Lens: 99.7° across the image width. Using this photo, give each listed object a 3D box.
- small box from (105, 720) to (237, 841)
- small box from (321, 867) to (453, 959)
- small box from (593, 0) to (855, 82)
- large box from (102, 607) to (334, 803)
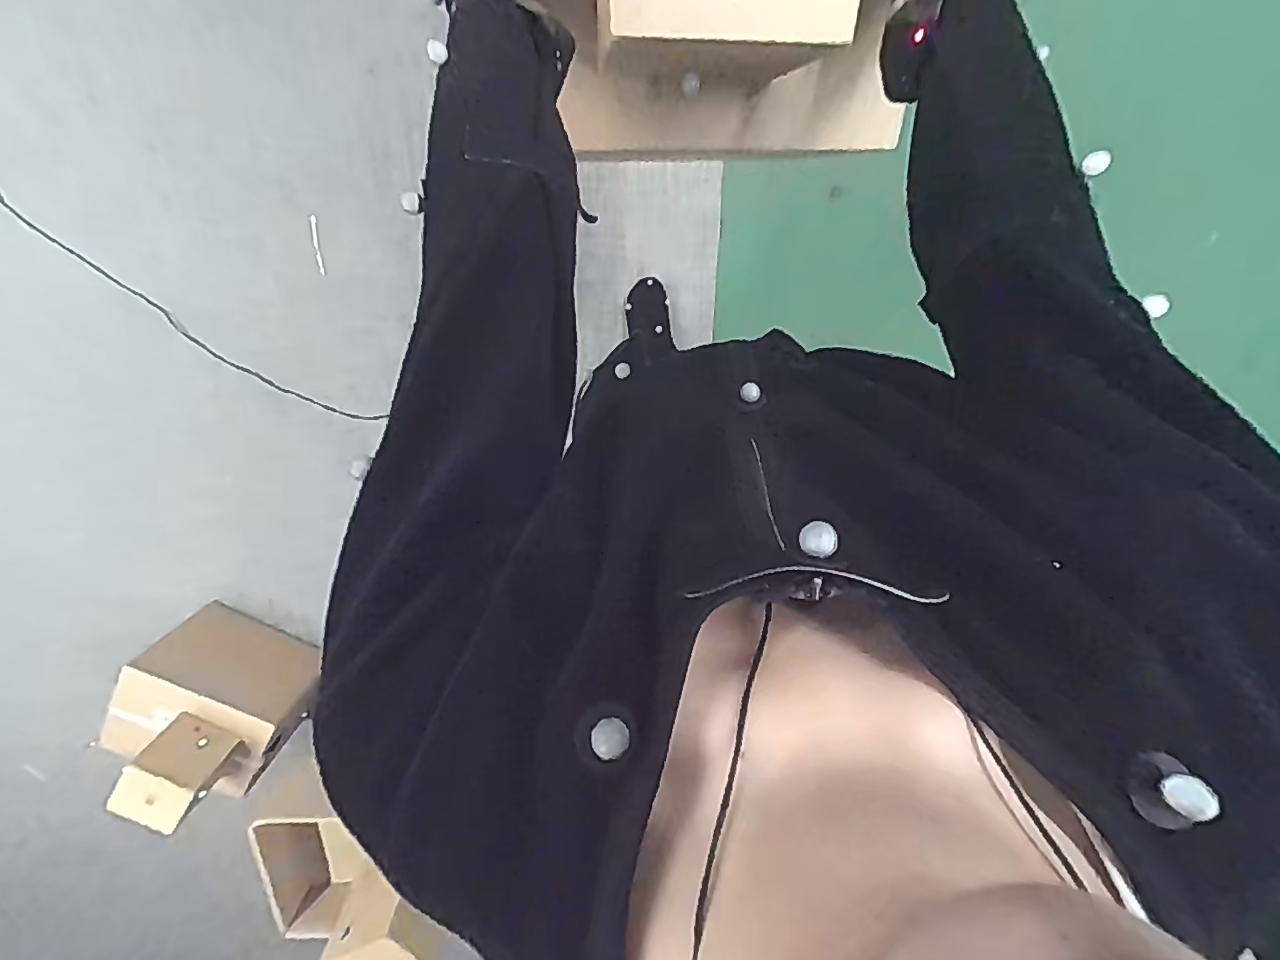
[{"bbox_3d":[-1.179,0.757,1.372,0.168,0.176,0.179,34,106,-11],"label":"small box"},{"bbox_3d":[-0.541,0.995,1.171,0.179,0.176,0.168,-28,107,7],"label":"small box"},{"bbox_3d":[0.051,-0.402,0.379,0.168,0.176,0.179,-2,120,-5],"label":"small box"},{"bbox_3d":[-1.213,0.650,1.594,0.408,0.320,0.320,30,106,-8],"label":"large box"}]
